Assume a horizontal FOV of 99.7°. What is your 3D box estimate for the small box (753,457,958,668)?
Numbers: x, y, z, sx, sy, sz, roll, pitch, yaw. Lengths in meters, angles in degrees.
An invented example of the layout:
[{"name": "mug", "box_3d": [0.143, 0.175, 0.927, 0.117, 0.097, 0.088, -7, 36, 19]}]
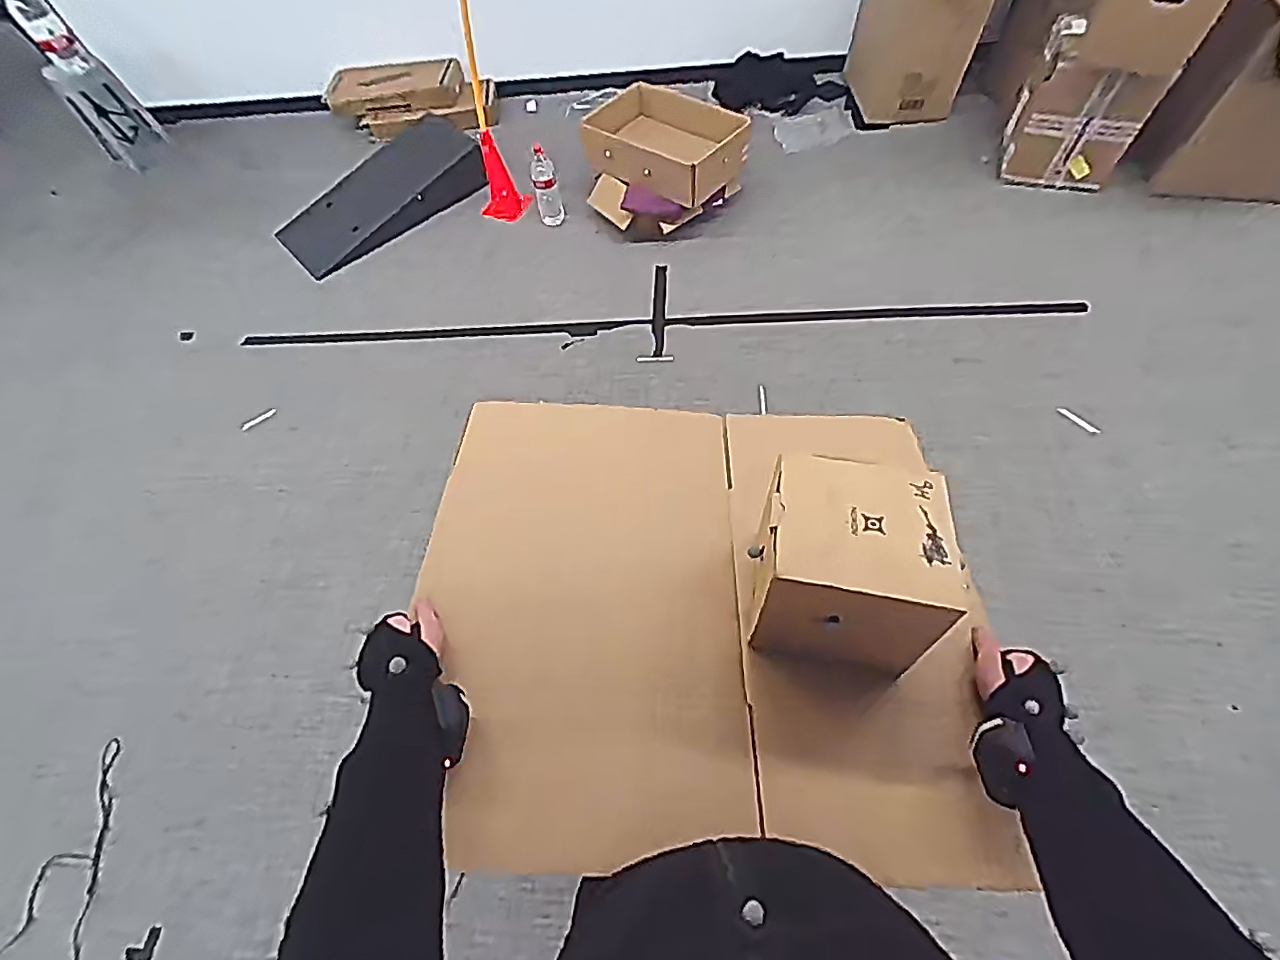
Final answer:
[{"name": "small box", "box_3d": [0.228, 0.097, 0.618, 0.179, 0.176, 0.168, 8, 52, 9]}]
